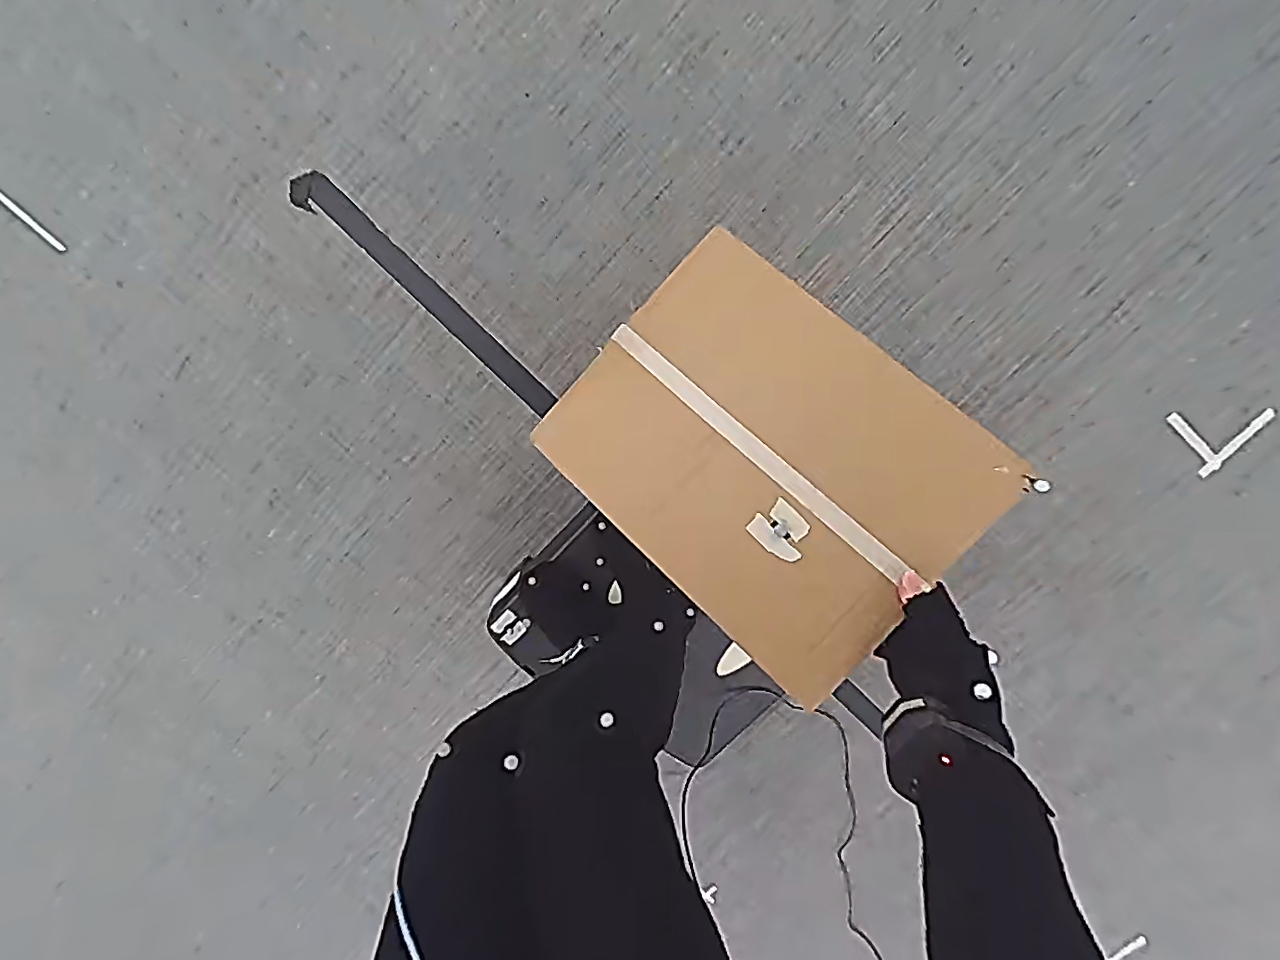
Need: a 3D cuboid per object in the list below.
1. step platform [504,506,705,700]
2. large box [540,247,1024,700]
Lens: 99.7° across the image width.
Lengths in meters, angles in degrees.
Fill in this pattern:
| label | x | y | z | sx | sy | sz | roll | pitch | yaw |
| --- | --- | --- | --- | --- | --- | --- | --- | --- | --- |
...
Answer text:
| label | x | y | z | sx | sy | sz | roll | pitch | yaw |
| --- | --- | --- | --- | --- | --- | --- | --- | --- | --- |
| step platform | 0.054 | 0.087 | 1.026 | 0.286 | 0.204 | 0.684 | 41 | 98 | -8 |
| large box | 0.153 | -0.007 | 0.711 | 0.408 | 0.320 | 0.320 | 43 | 94 | 11 |
